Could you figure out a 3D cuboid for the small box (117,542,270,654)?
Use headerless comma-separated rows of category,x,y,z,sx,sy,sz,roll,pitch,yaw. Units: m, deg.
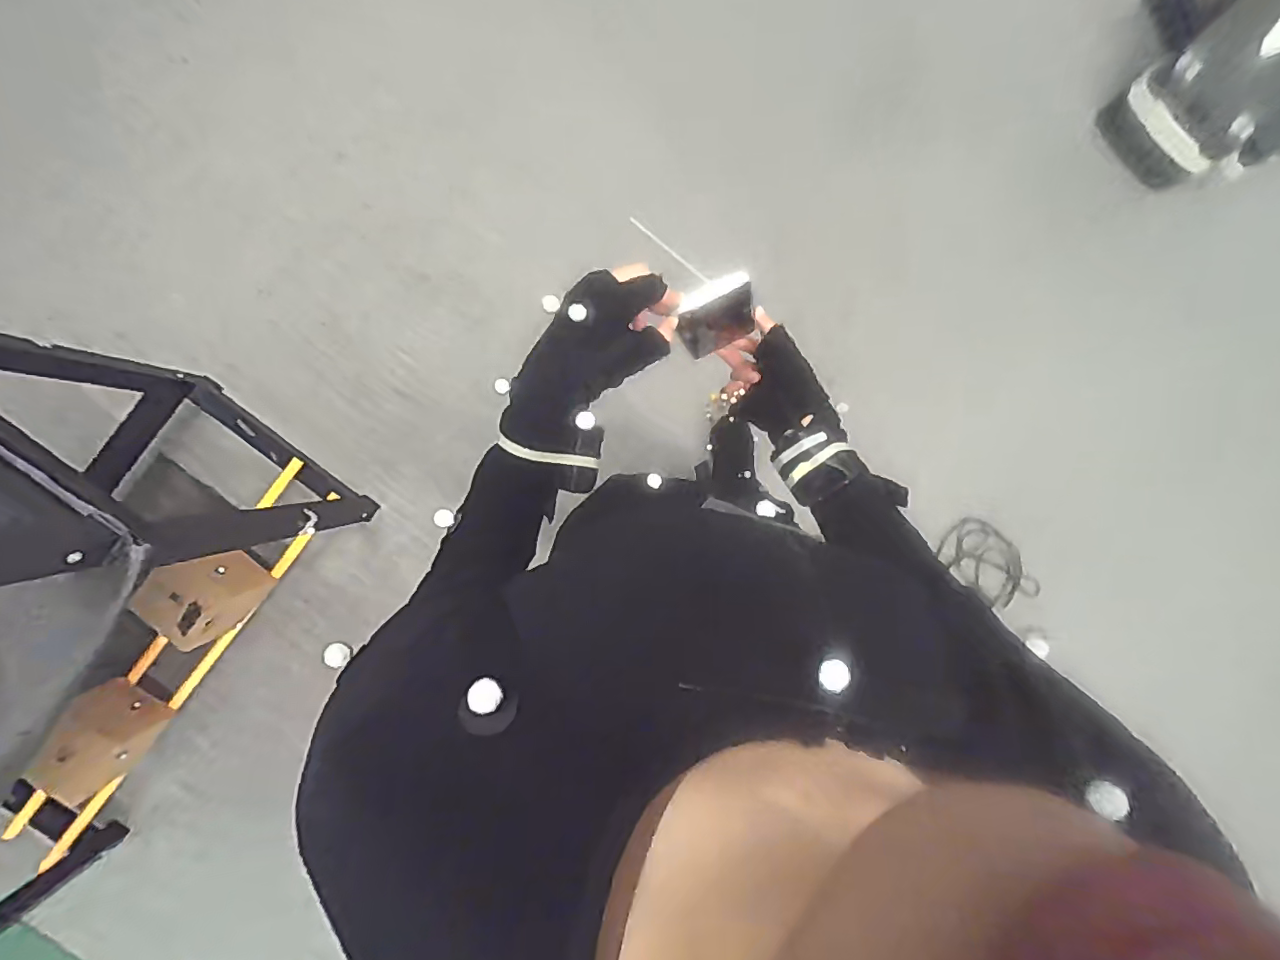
small box,-1.019,0.262,1.254,0.179,0.176,0.168,42,90,-2
